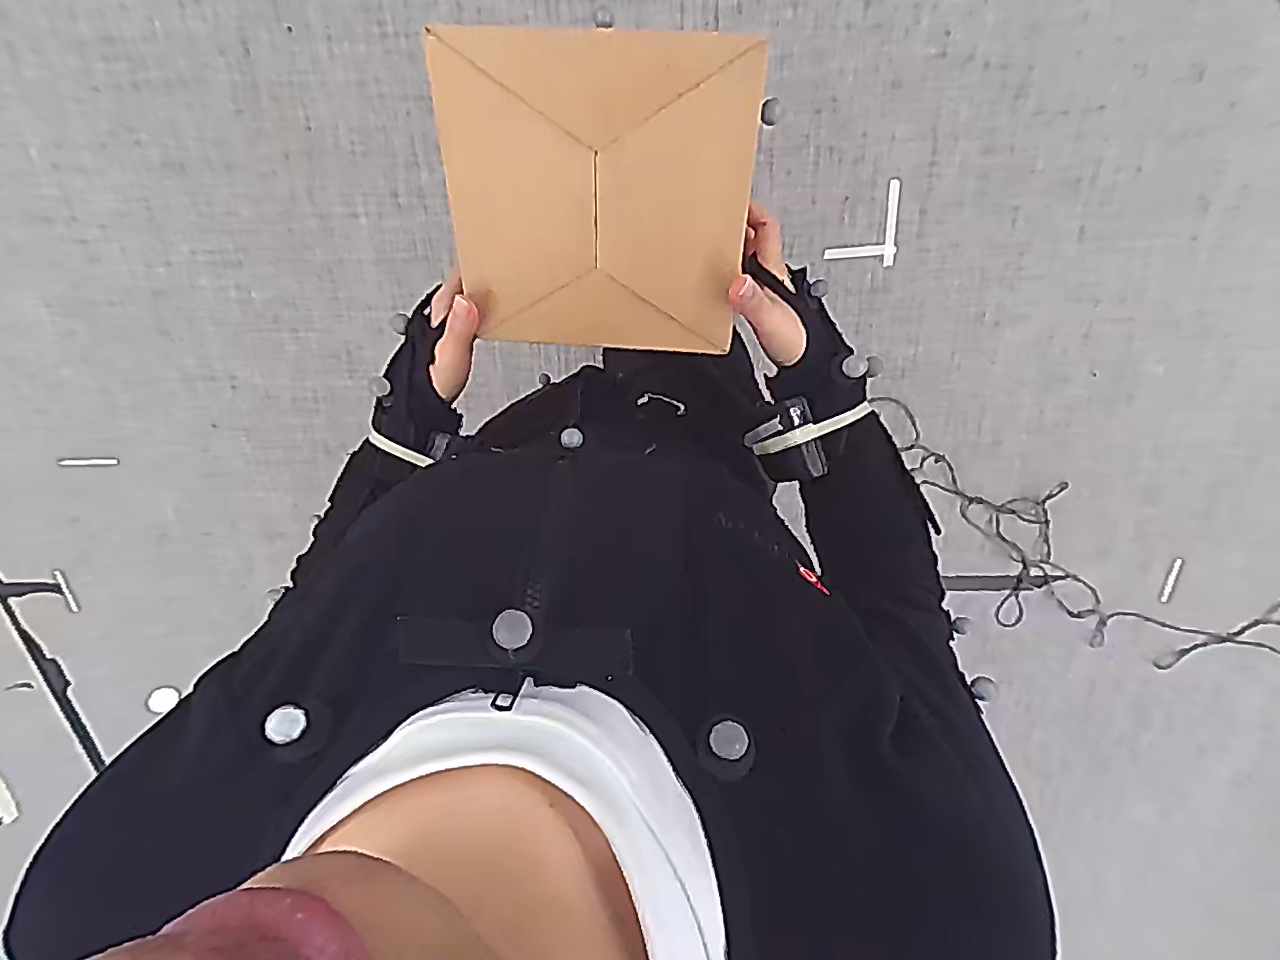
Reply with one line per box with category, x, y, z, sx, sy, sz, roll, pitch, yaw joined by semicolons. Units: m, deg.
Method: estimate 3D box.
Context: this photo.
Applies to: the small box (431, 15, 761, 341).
small box;-0.016;-0.205;0.375;0.179;0.176;0.168;4;126;2
